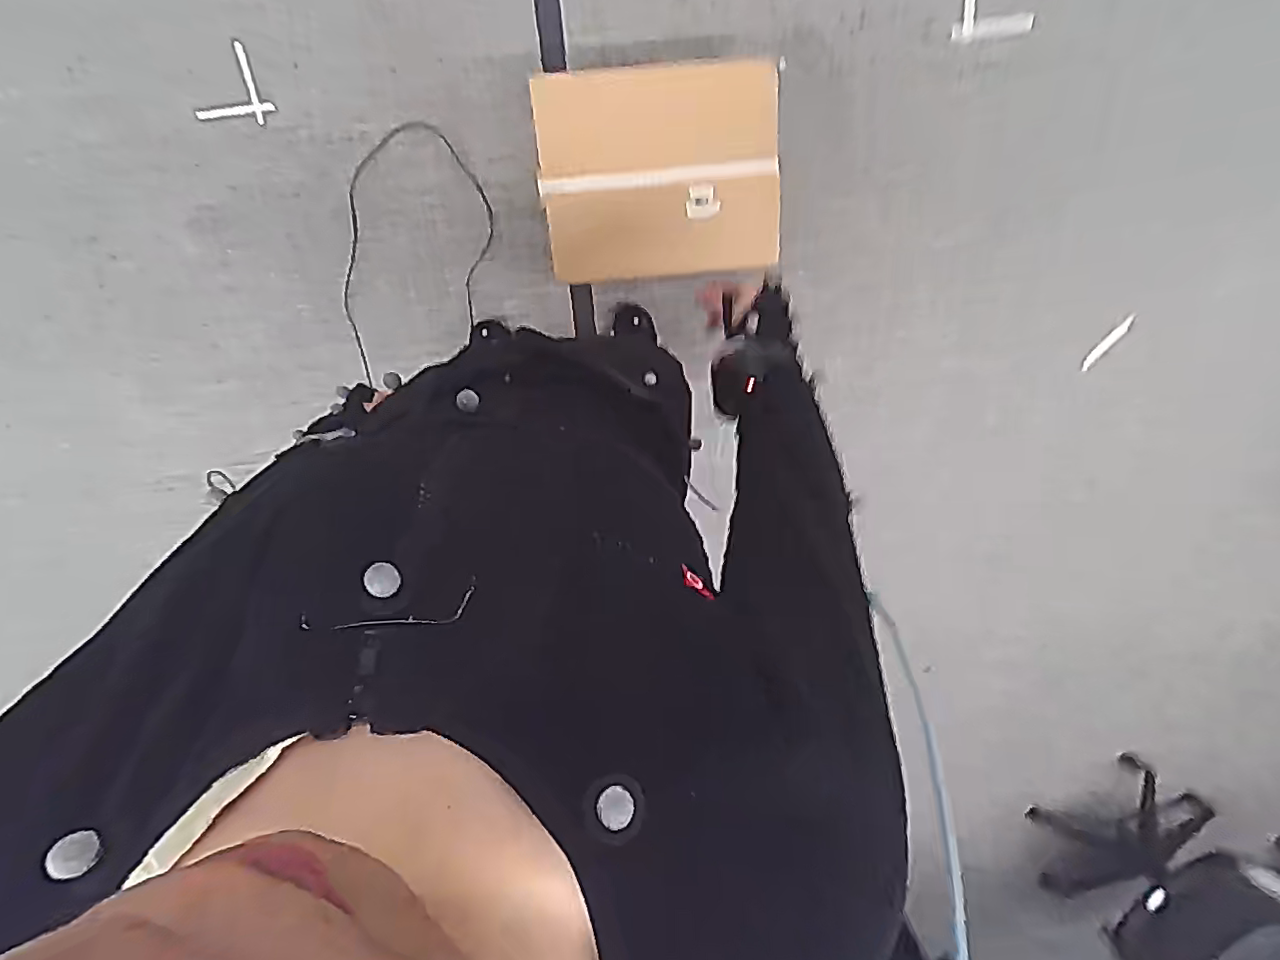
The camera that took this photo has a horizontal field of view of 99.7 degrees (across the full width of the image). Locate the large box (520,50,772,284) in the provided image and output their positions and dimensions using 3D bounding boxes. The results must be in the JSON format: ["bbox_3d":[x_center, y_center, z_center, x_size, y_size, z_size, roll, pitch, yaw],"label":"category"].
[{"bbox_3d":[0.010,-0.566,1.045,0.408,0.320,0.320,-7,111,-3],"label":"large box"}]
